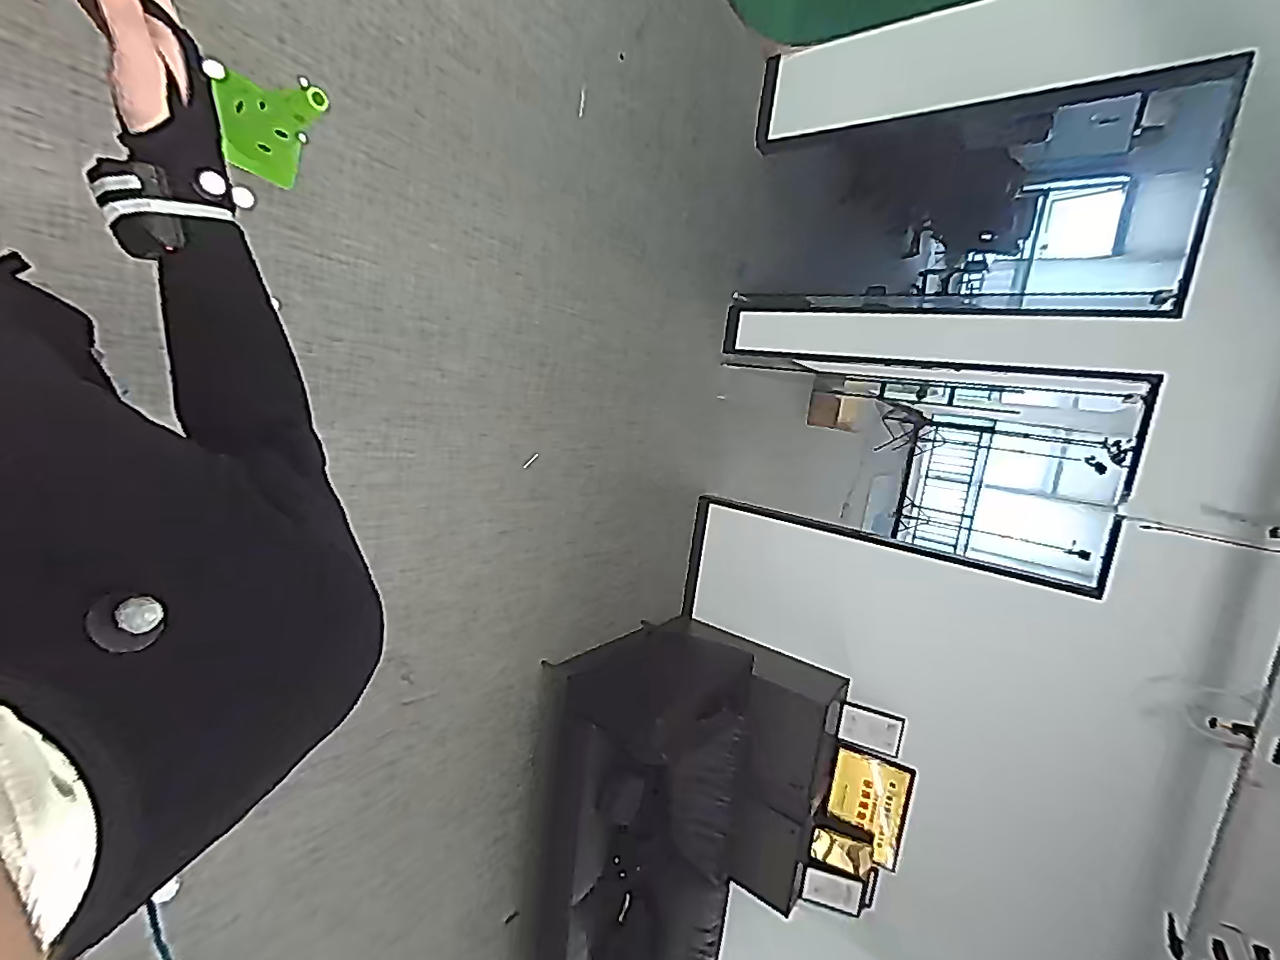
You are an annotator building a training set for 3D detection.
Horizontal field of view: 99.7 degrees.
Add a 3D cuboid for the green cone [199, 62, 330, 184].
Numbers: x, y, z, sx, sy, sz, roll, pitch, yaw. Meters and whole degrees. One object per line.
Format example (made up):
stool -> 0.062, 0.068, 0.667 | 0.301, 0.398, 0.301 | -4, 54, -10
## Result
green cone -> -0.802, -0.829, 1.218 | 0.200, 0.368, 0.202 | 7, 95, -55
